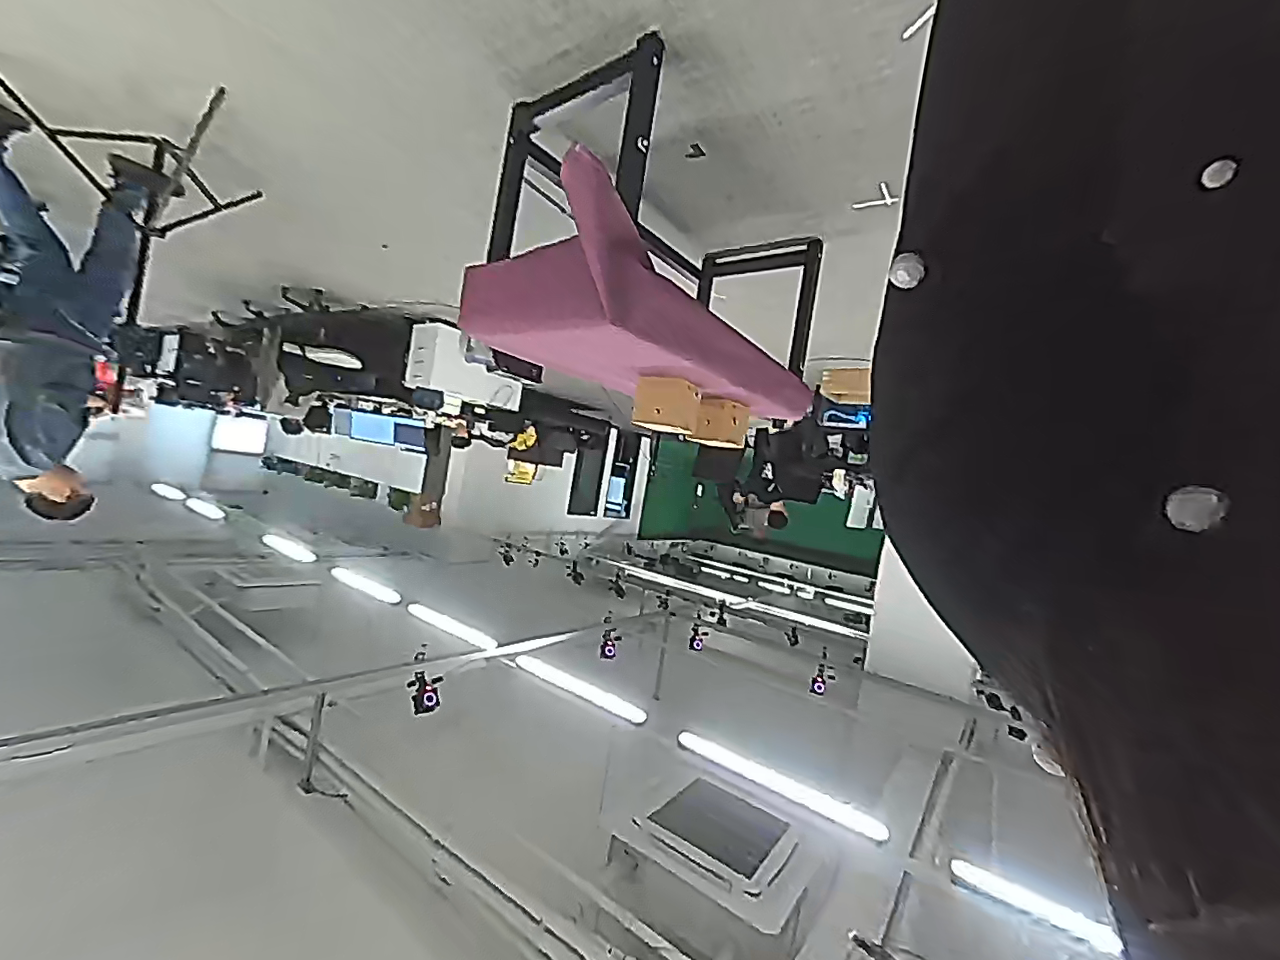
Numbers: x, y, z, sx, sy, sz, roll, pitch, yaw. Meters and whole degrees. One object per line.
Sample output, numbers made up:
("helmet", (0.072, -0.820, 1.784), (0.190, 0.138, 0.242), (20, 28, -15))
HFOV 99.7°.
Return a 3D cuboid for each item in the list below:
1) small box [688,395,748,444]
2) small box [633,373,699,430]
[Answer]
("small box", (0.316, -0.243, 2.157), (0.168, 0.176, 0.179), (10, 179, -43))
("small box", (0.100, -0.278, 1.911), (0.179, 0.176, 0.168), (10, -179, 31))
